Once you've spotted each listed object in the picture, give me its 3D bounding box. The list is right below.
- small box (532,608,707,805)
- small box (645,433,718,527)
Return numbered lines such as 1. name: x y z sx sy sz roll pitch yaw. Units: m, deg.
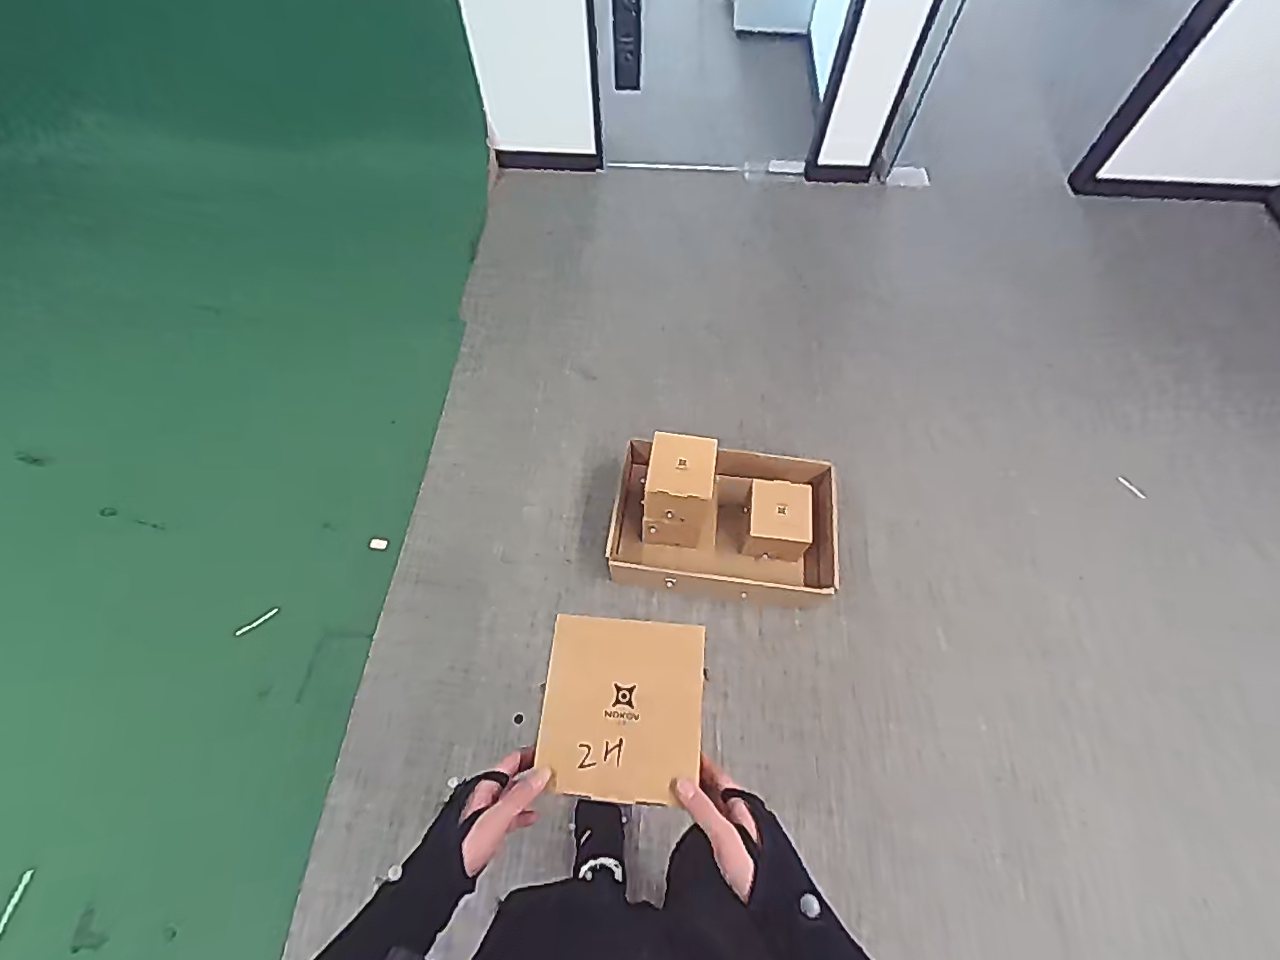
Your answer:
1. small box: -0.014 0.260 0.628 0.168 0.176 0.179 4 65 5
2. small box: 0.104 0.003 1.416 0.168 0.176 0.179 8 62 3
